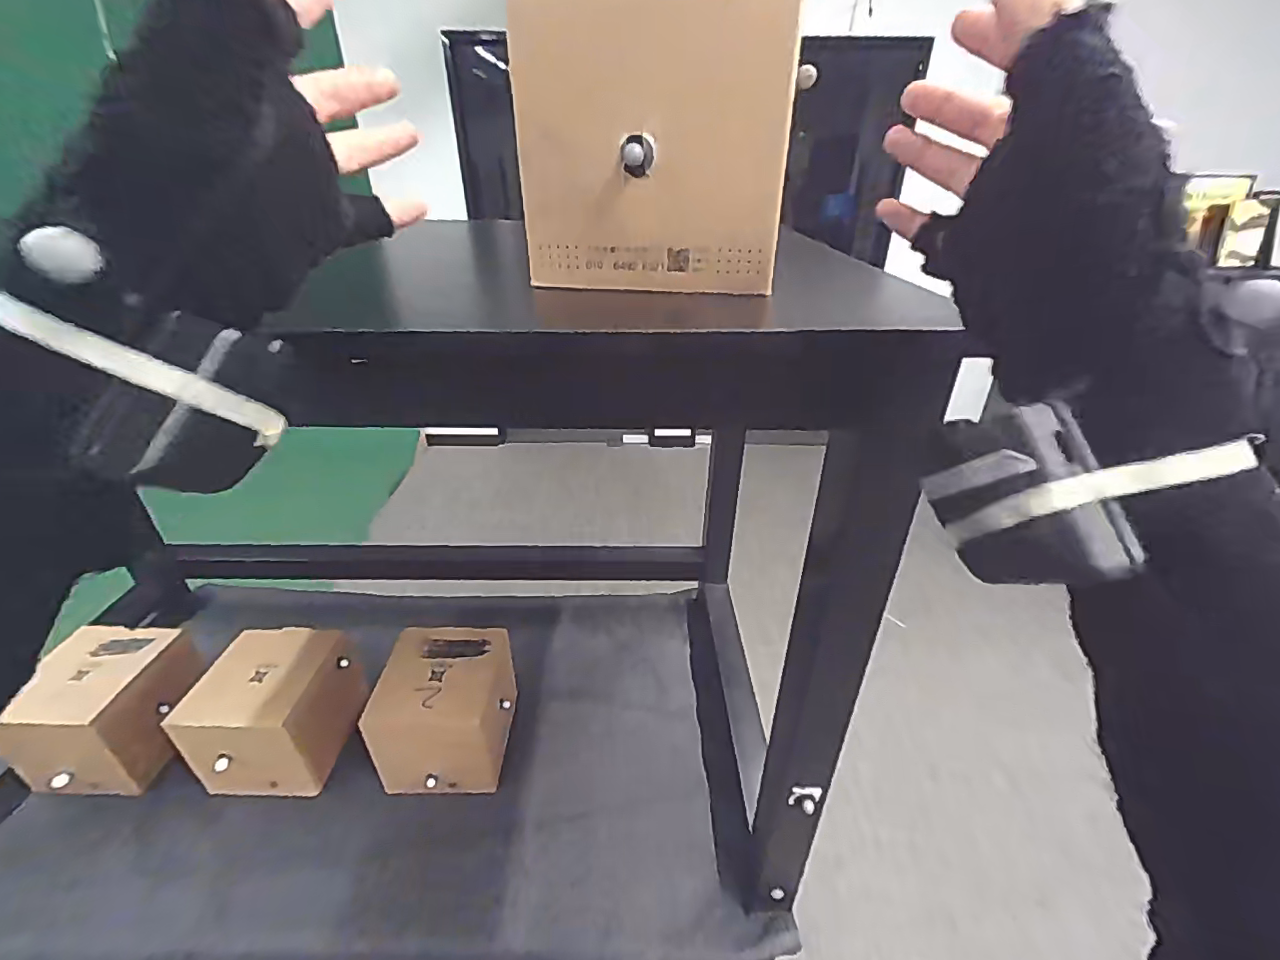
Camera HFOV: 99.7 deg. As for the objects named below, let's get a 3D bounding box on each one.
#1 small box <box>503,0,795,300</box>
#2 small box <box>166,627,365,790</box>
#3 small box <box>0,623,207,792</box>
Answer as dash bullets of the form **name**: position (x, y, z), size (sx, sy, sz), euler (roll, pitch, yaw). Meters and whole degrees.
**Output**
- **small box**: position (0.019, -0.236, 0.399), size (0.168, 0.176, 0.179), euler (6, 31, 9)
- **small box**: position (-0.555, 0.351, 0.835), size (0.168, 0.176, 0.179), euler (1, 30, 0)
- **small box**: position (-0.808, 0.345, 0.833), size (0.168, 0.176, 0.179), euler (1, 31, 1)
